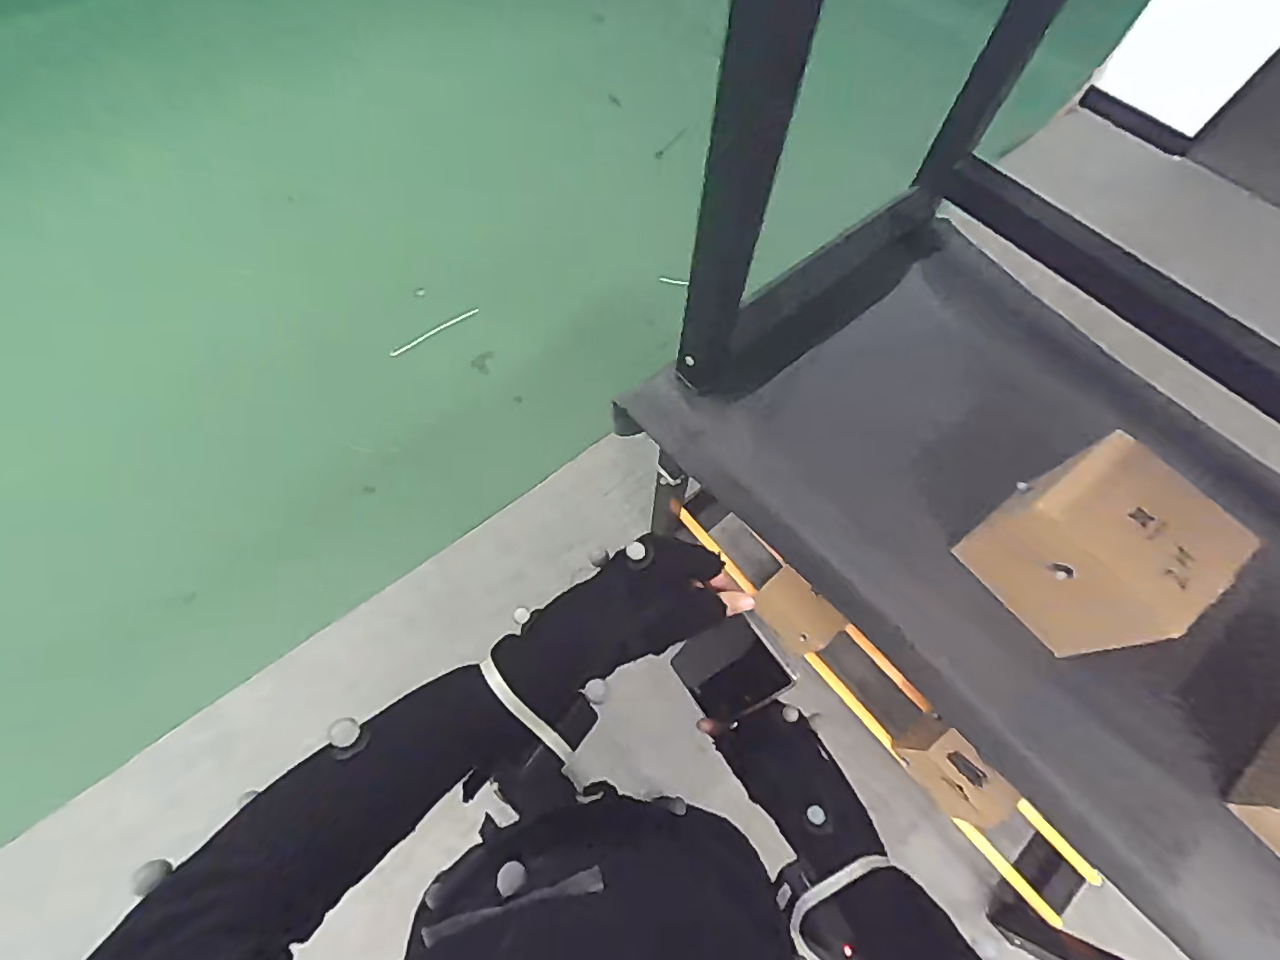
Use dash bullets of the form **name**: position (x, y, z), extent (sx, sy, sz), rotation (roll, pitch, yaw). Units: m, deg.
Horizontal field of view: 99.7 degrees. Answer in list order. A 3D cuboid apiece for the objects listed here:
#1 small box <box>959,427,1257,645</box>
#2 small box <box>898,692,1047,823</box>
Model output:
- **small box**: position (0.537, 0.076, 0.651), extent (0.168, 0.176, 0.179), rotation (-34, 71, -15)
- **small box**: position (0.668, 0.565, 1.116), extent (0.179, 0.176, 0.168), rotation (-34, 71, -15)
